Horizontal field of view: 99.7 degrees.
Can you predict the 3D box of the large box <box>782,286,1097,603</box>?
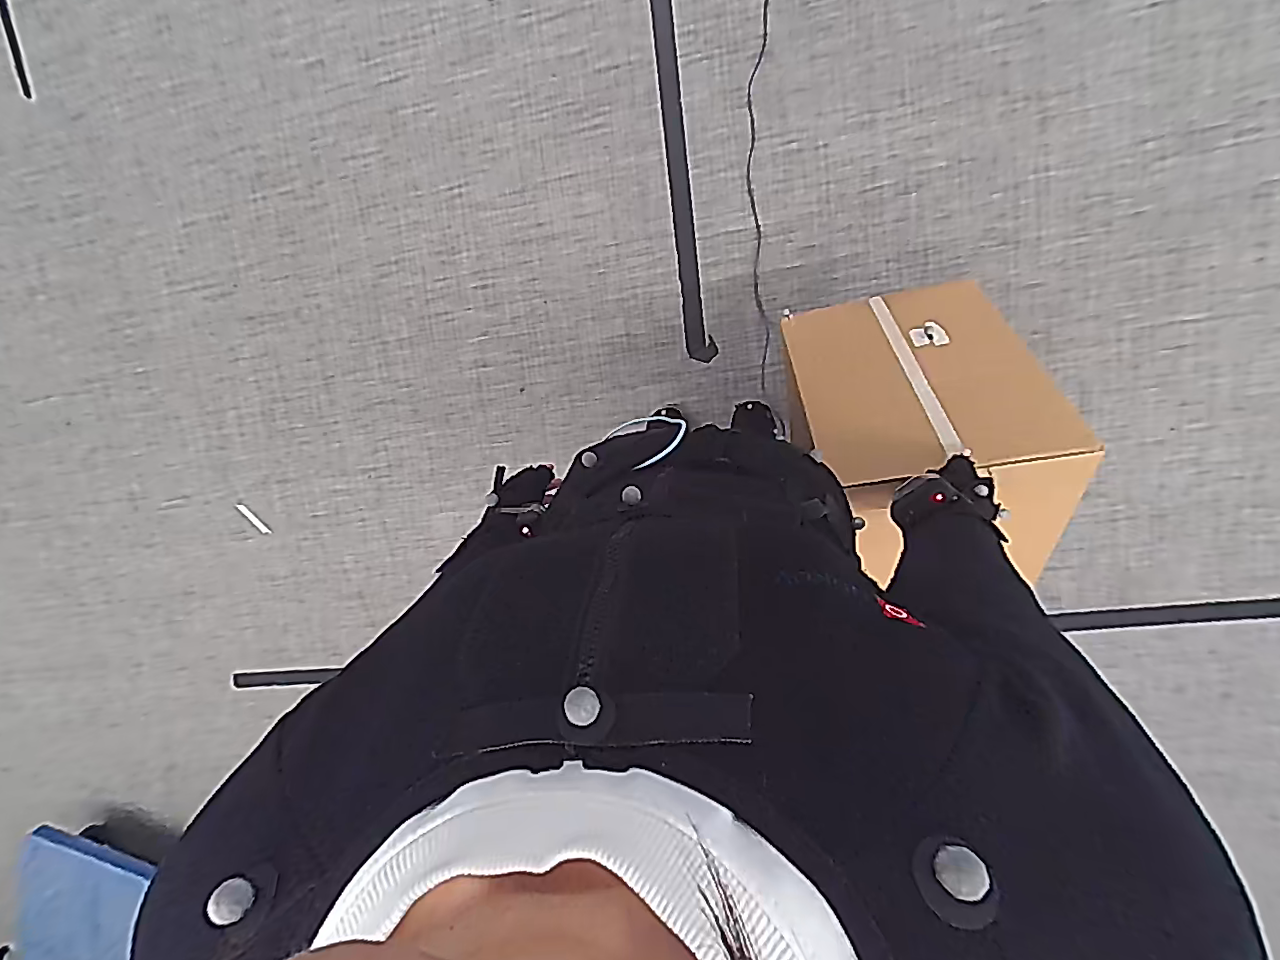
[{"bbox_3d":[0.438,-0.058,0.907,0.320,0.408,0.320,-9,136,11],"label":"large box"}]
